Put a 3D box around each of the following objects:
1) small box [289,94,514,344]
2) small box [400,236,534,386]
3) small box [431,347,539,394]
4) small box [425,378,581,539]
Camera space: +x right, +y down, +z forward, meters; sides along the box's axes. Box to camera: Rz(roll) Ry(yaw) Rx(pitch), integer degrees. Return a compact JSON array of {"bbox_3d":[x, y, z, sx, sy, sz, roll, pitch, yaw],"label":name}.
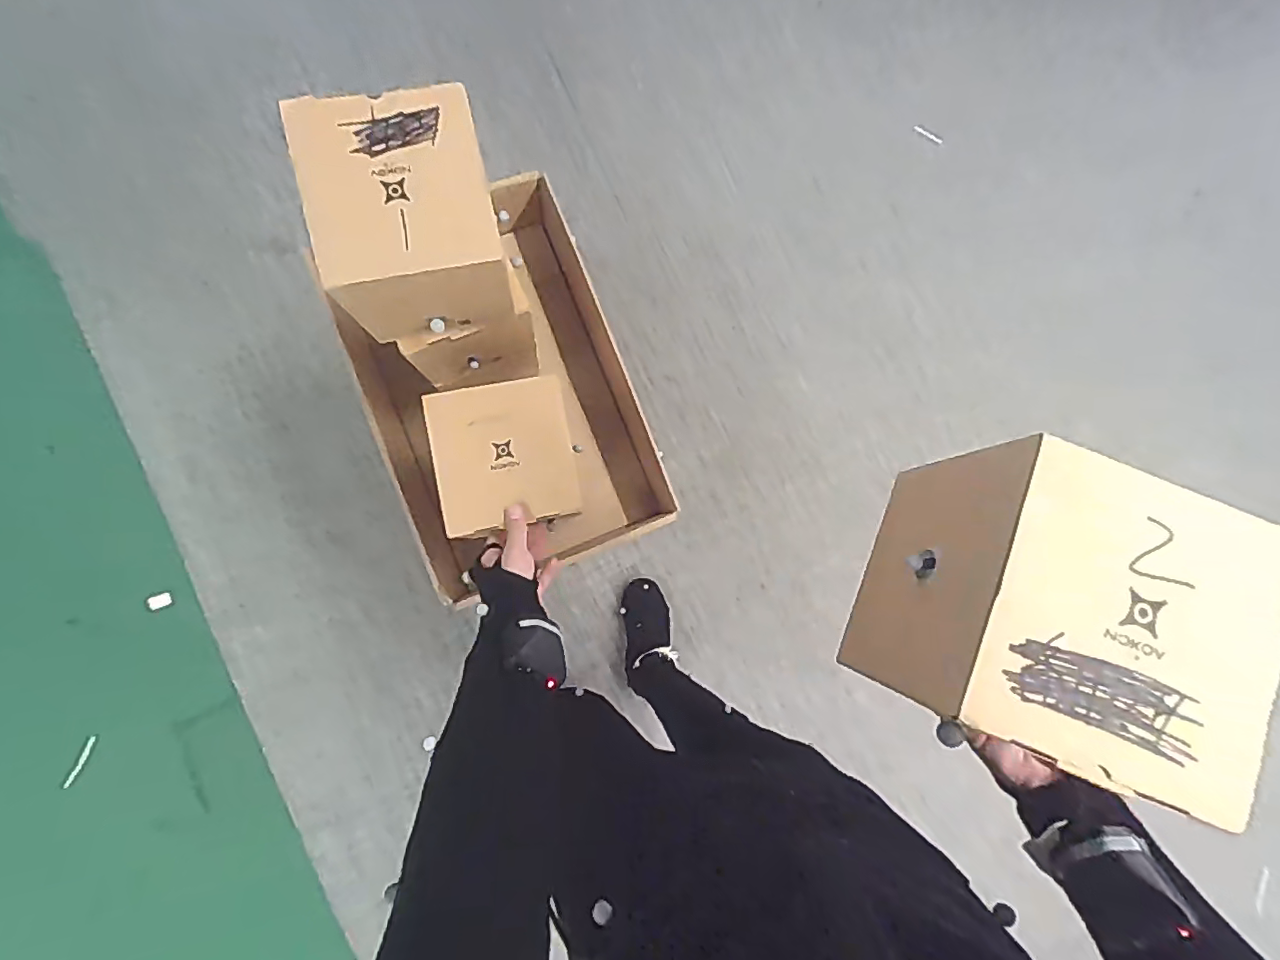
[{"bbox_3d":[-0.238,-0.266,0.583,0.168,0.176,0.179,-13,89,-9],"label":"small box"},{"bbox_3d":[-0.255,-0.252,0.746,0.168,0.176,0.179,-23,90,-9],"label":"small box"},{"bbox_3d":[-0.279,-0.243,0.906,0.168,0.176,0.179,-22,89,-8],"label":"small box"},{"bbox_3d":[-0.174,-0.021,0.731,0.168,0.176,0.179,-11,84,-9],"label":"small box"}]
